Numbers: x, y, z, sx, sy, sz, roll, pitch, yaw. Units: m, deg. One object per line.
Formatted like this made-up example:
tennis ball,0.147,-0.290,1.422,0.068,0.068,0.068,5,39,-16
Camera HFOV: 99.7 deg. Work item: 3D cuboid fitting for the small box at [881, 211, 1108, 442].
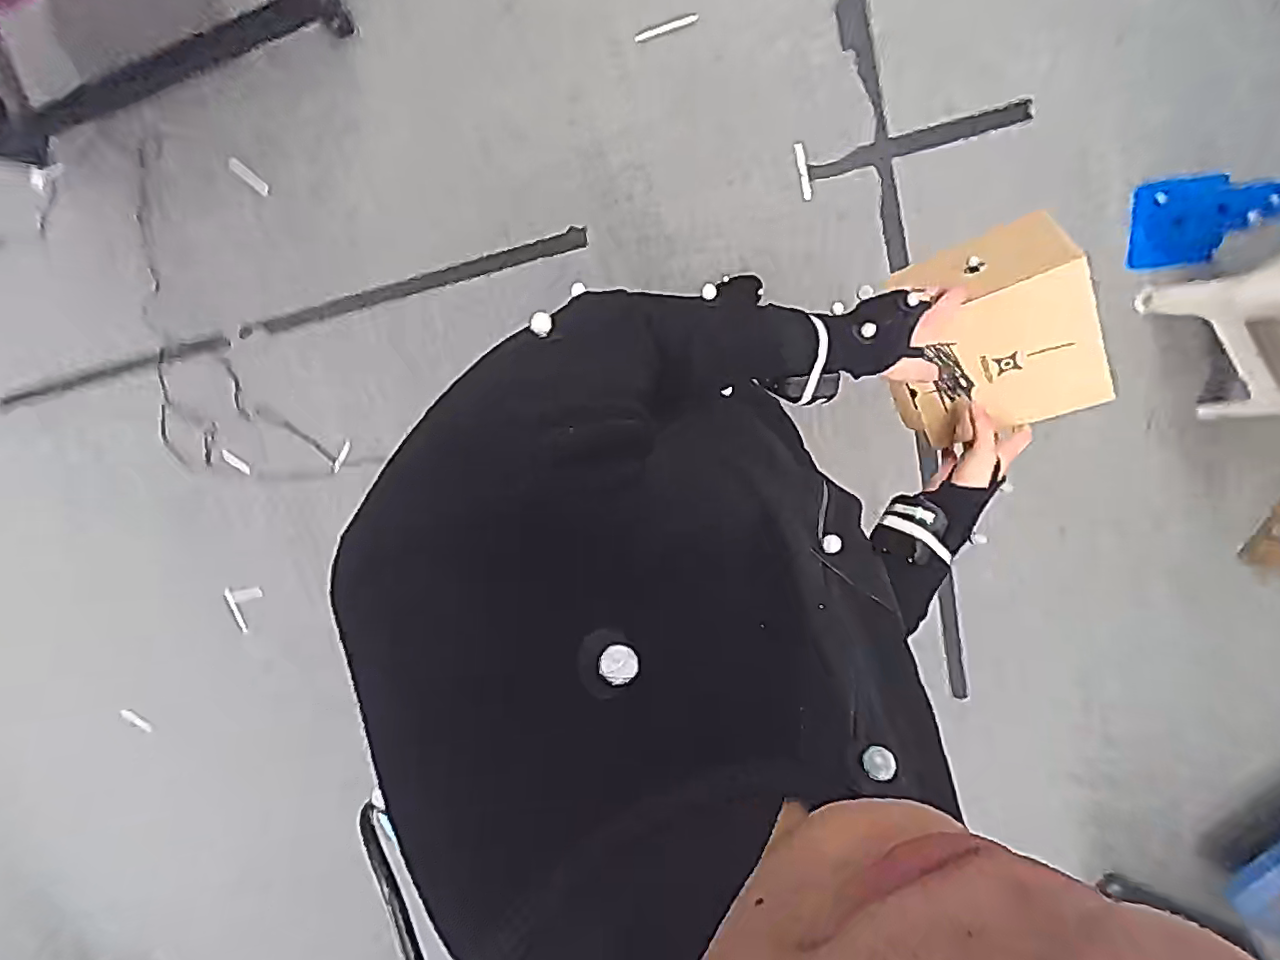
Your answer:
small box,0.394,-0.176,0.626,0.179,0.176,0.168,-19,120,32
